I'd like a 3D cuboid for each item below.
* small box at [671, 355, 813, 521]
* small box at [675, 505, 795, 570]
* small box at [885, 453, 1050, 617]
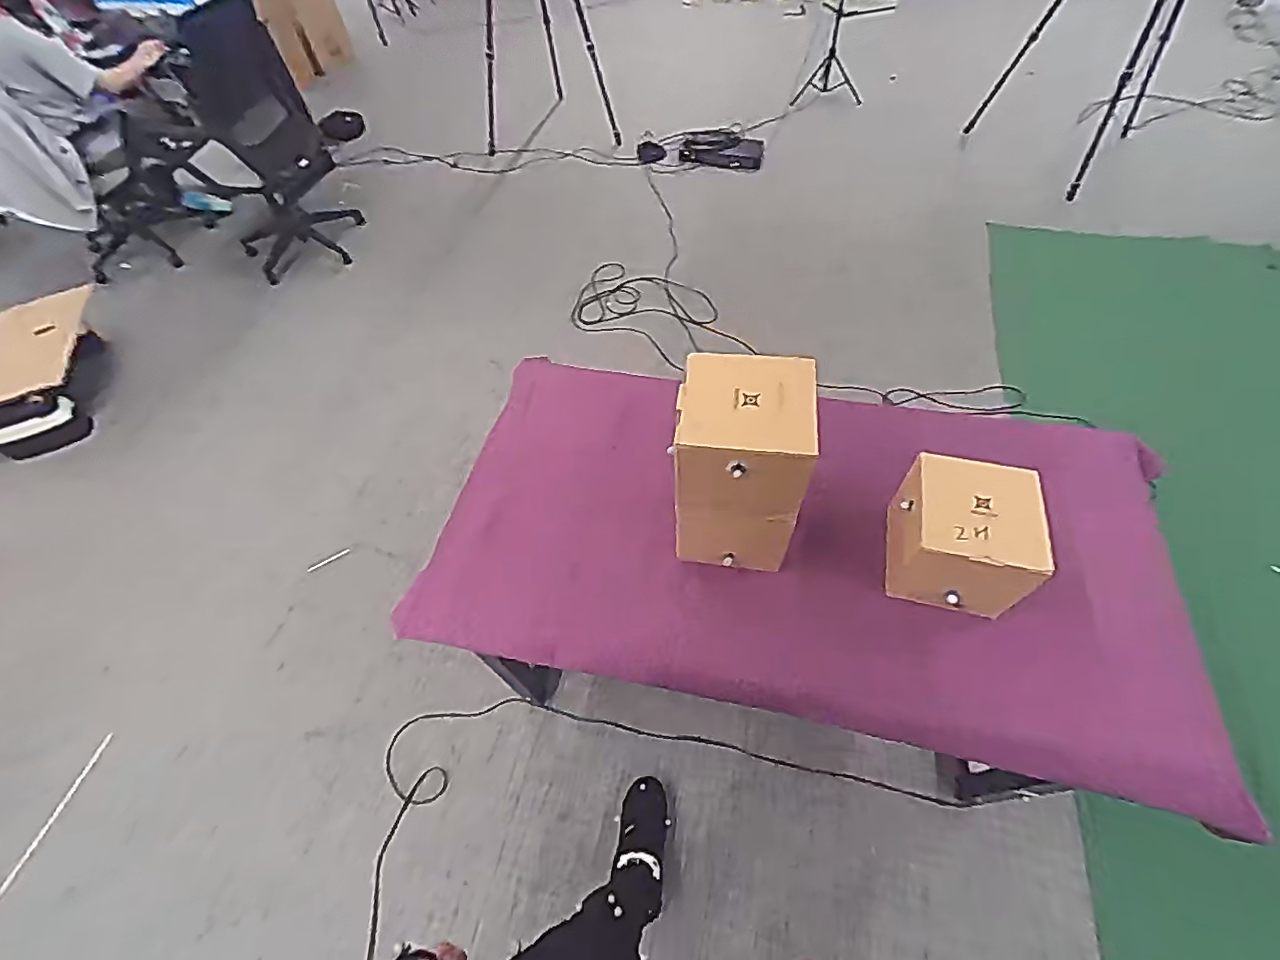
[{"bbox_3d":[0.142,-0.056,0.768,0.179,0.176,0.168,5,57,9],"label":"small box"},{"bbox_3d":[0.155,0.038,0.902,0.179,0.176,0.168,6,56,8],"label":"small box"},{"bbox_3d":[0.492,0.088,0.842,0.168,0.176,0.179,11,57,12],"label":"small box"}]
